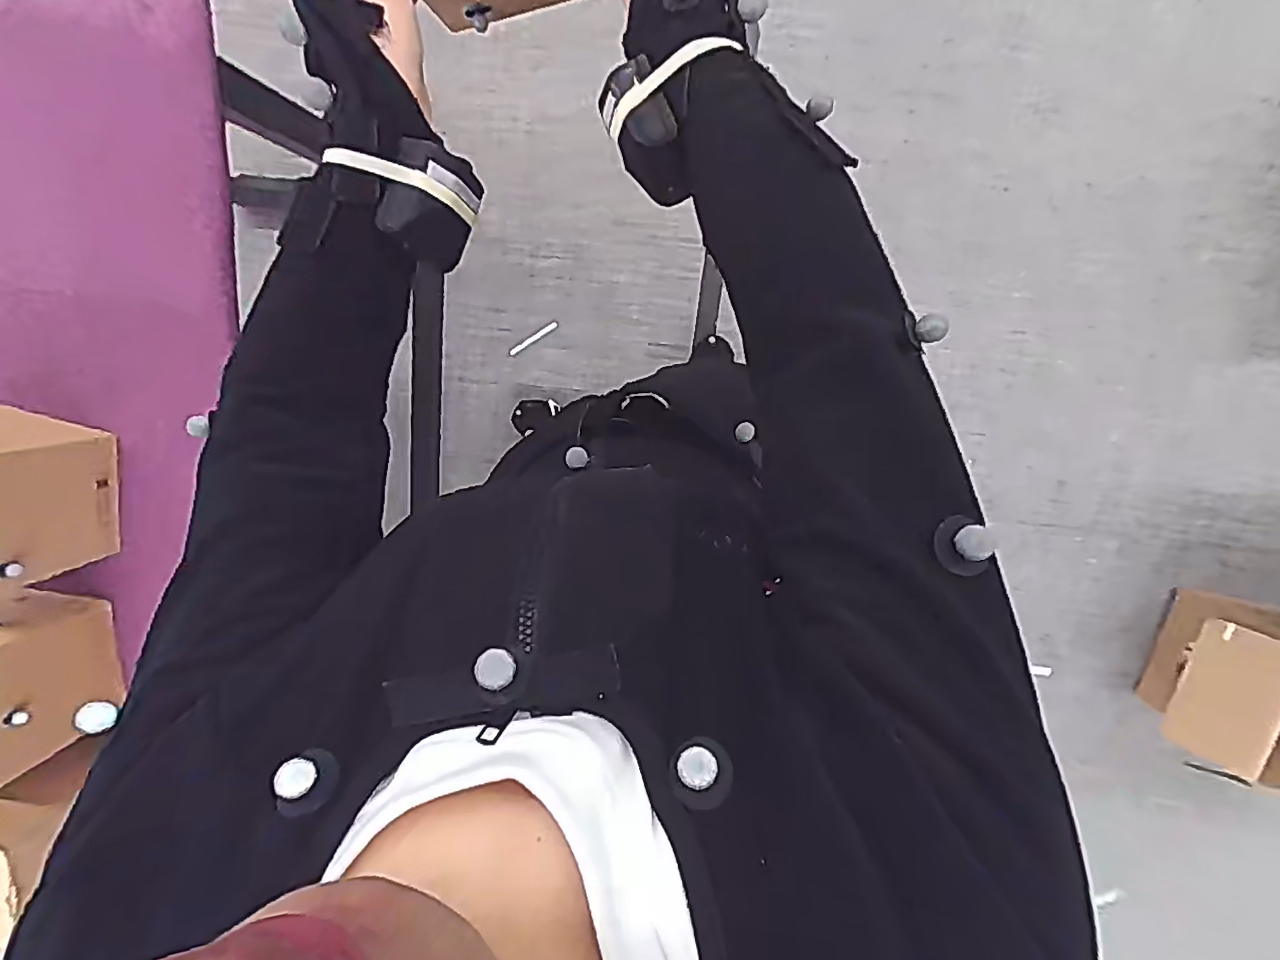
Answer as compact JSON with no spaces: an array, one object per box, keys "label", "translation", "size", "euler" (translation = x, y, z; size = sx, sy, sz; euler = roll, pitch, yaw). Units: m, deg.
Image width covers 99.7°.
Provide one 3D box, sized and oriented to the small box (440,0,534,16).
[{"label":"small box","translation":[-0.099,-0.451,0.356],"size":[0.168,0.176,0.179],"euler":[-11,110,5]}]
